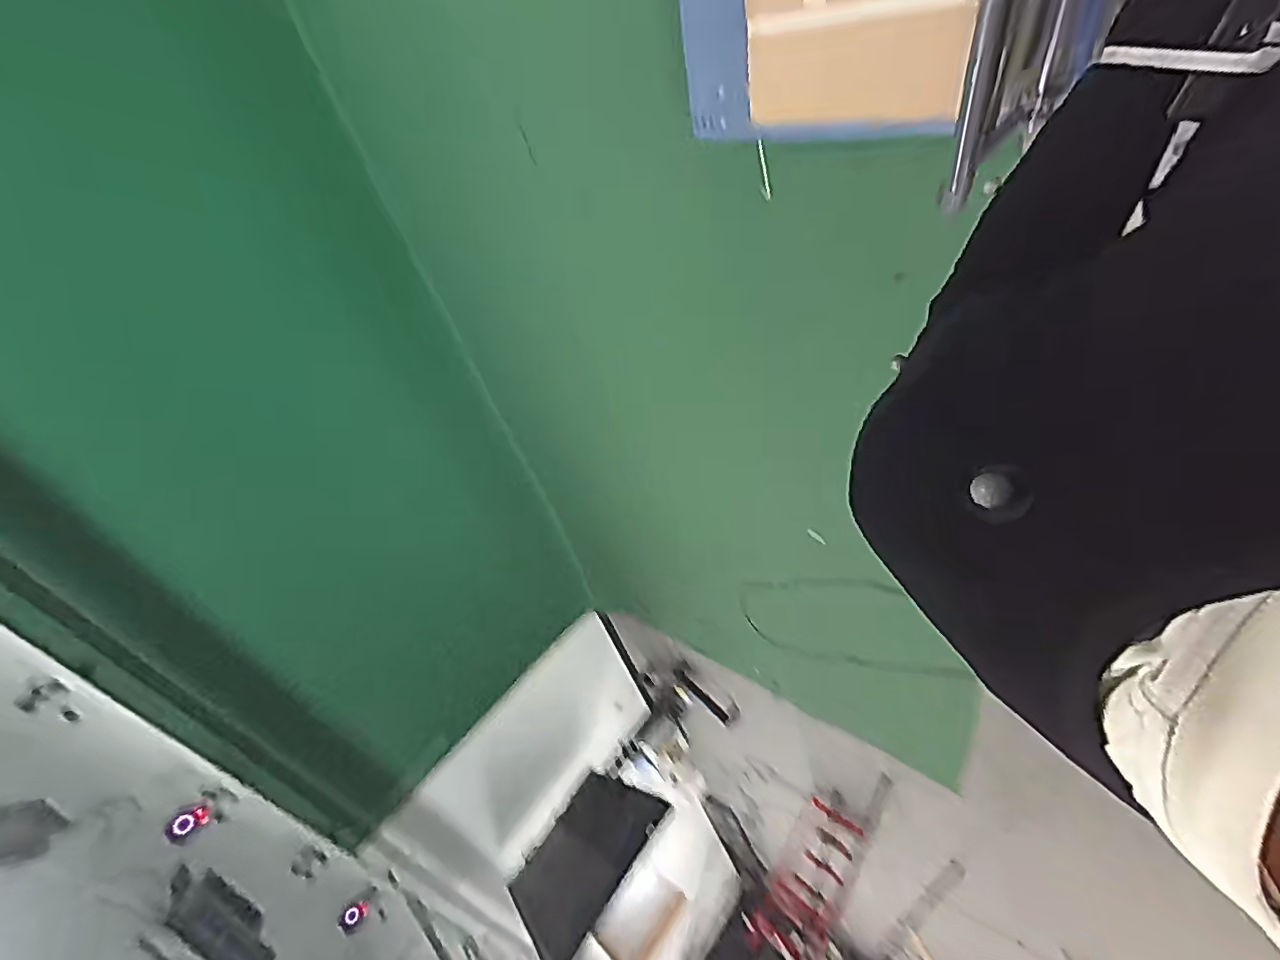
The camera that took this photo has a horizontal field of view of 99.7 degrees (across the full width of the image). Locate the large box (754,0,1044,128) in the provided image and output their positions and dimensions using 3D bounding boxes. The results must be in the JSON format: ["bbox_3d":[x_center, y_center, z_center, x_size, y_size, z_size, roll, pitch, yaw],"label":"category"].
[{"bbox_3d":[0.457,-0.851,0.957,0.408,0.320,0.320,25,143,35],"label":"large box"}]
